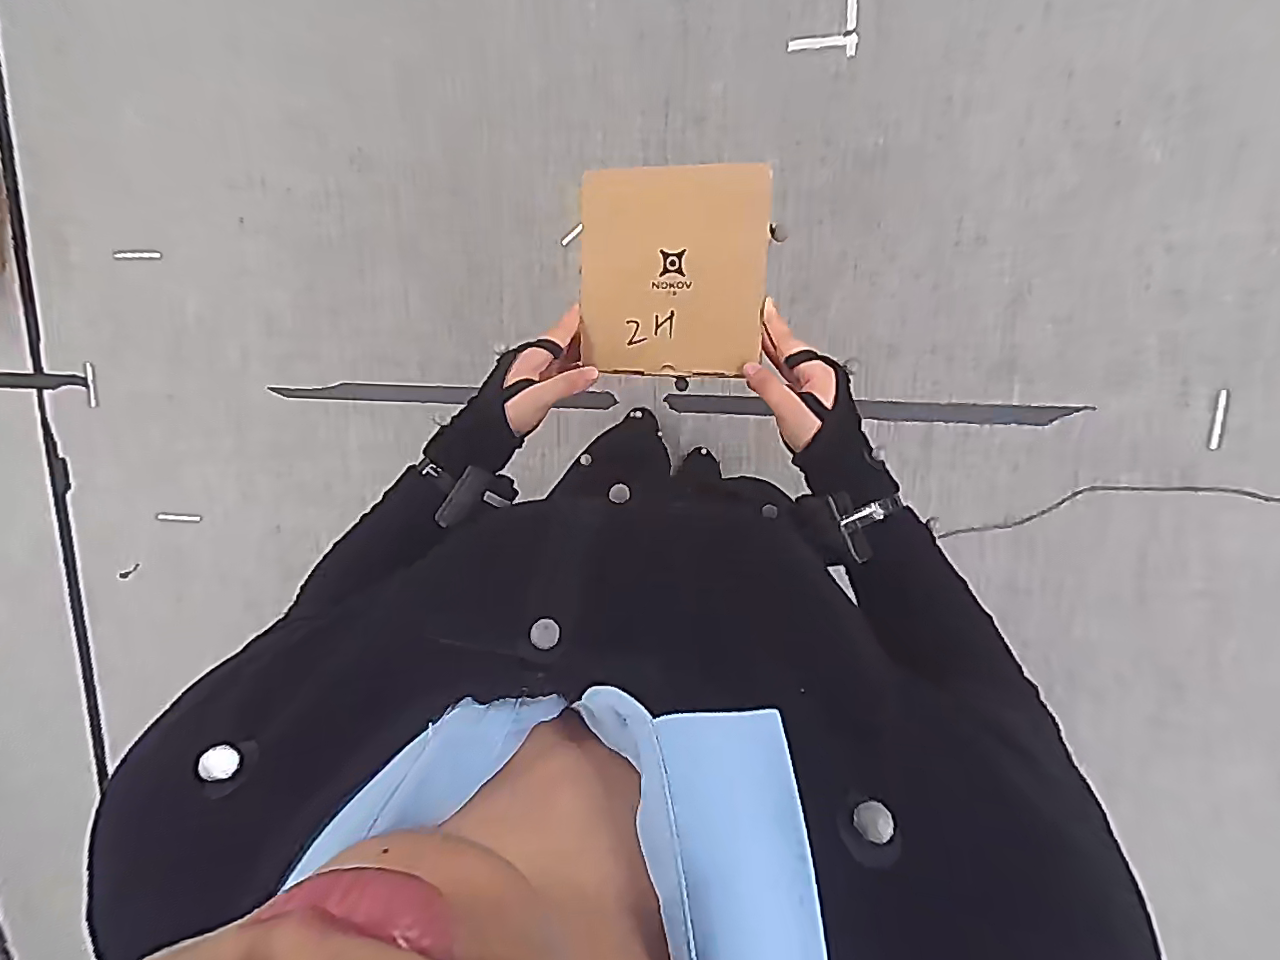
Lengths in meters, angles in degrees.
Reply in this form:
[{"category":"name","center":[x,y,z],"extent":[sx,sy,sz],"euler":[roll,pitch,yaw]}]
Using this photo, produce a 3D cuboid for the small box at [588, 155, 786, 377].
[{"category":"small box","center":[0.050,-0.197,0.543],"extent":[0.168,0.176,0.179],"euler":[4,101,11]}]
